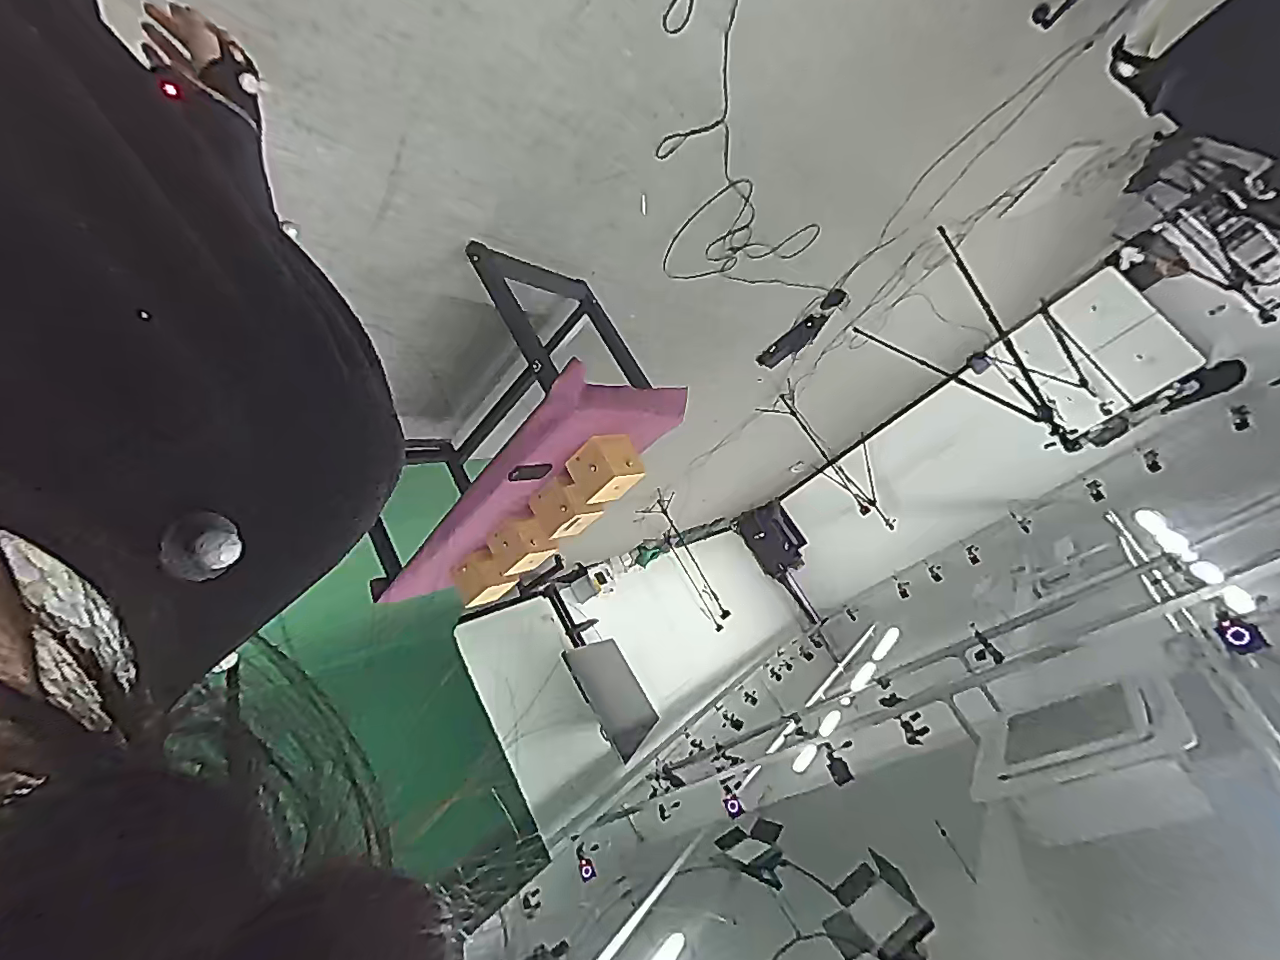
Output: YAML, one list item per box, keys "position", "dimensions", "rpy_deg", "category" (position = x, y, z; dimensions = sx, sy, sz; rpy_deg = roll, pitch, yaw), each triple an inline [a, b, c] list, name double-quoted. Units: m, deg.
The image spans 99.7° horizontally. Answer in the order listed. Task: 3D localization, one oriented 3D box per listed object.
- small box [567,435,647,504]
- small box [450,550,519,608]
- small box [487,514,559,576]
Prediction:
- position: [-0.118, -0.039, 1.839]
  dimensions: [0.168, 0.176, 0.179]
  rpy_deg: [-42, 161, 32]
  category: "small box"
- position: [-0.633, 0.393, 2.195]
  dimensions: [0.168, 0.176, 0.179]
  rpy_deg: [-40, 161, 24]
  category: "small box"
- position: [-0.453, 0.246, 2.077]
  dimensions: [0.168, 0.176, 0.179]
  rpy_deg: [-39, 162, 26]
  category: "small box"
